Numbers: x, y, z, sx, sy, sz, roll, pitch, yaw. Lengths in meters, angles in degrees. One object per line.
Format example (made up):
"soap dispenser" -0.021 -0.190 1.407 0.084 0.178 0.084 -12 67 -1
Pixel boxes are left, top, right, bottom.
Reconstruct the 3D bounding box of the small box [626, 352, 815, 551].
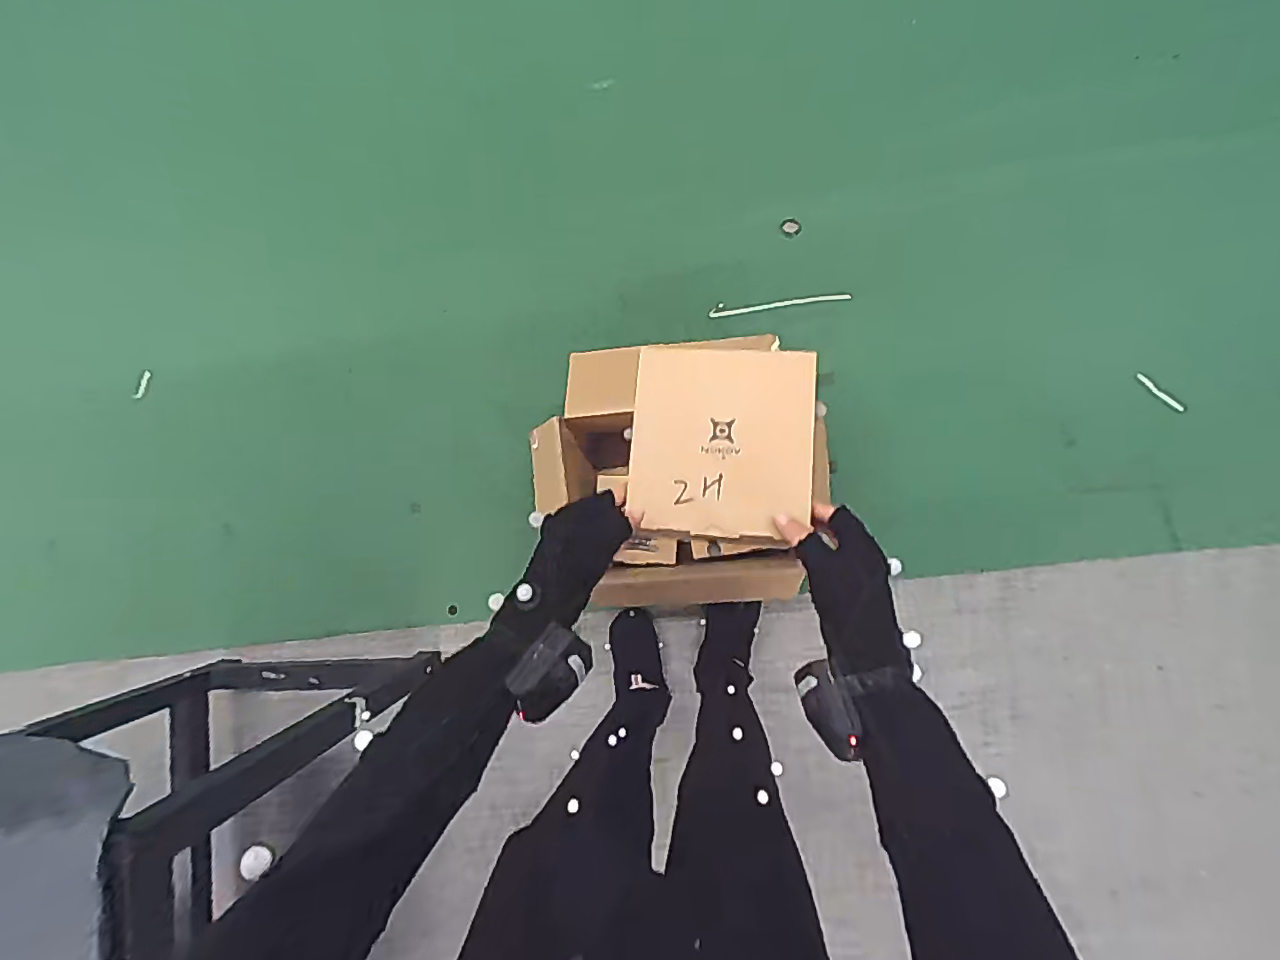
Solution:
"small box" 0.084 -0.020 0.577 0.168 0.176 0.179 4 82 9
